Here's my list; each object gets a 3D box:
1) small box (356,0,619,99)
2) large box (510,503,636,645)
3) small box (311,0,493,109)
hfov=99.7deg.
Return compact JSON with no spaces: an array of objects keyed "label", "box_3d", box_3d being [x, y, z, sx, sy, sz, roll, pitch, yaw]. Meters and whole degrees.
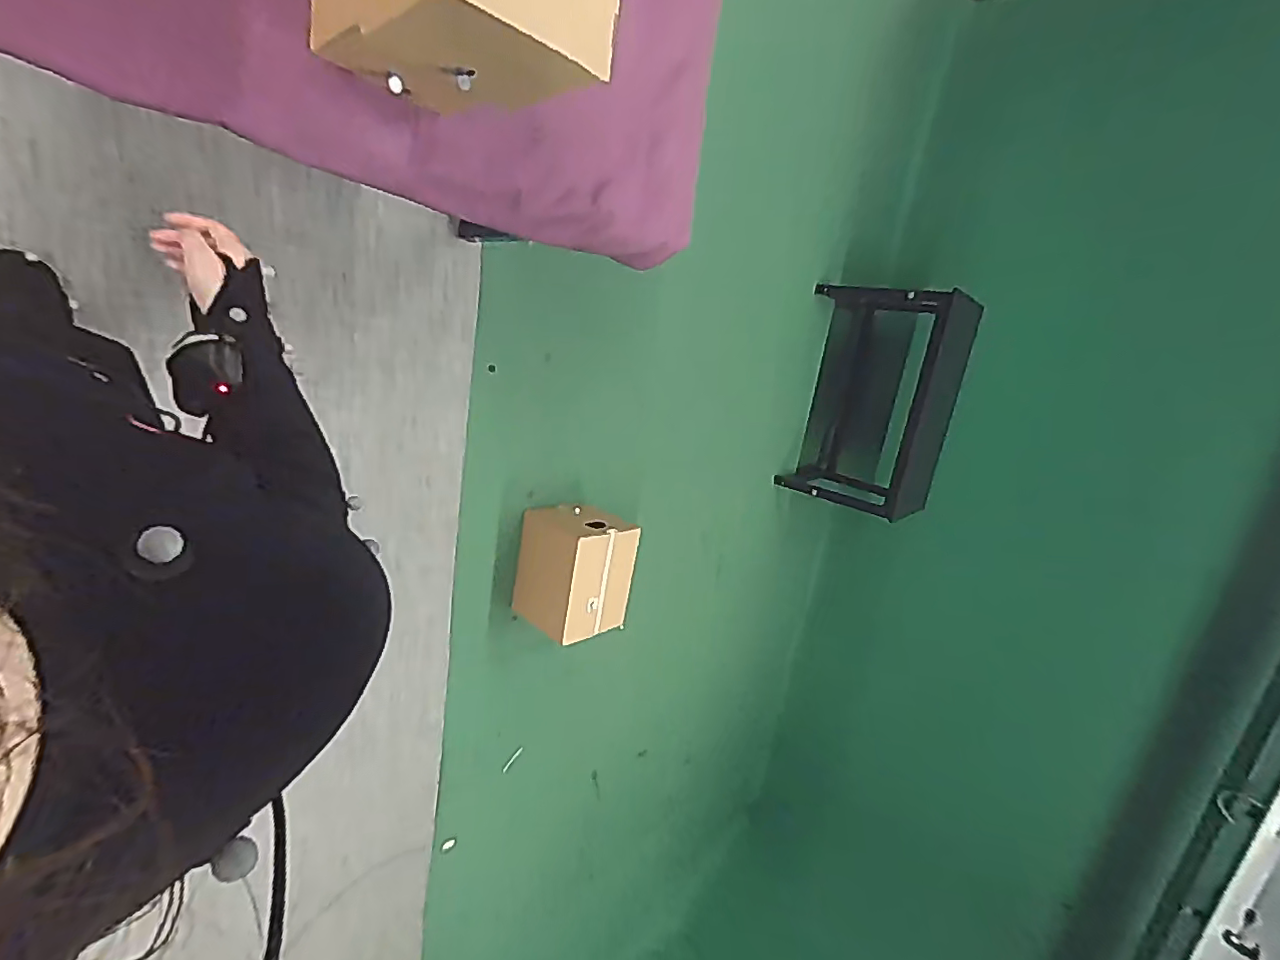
[{"label":"small box","box_3d":[-0.133,-0.477,0.493,0.179,0.176,0.168,-9,113,-47]},{"label":"large box","box_3d":[-0.255,0.329,2.019,0.320,0.320,0.408,-3,109,-48]},{"label":"small box","box_3d":[-0.243,-0.549,0.595,0.168,0.176,0.179,-4,109,-48]}]
